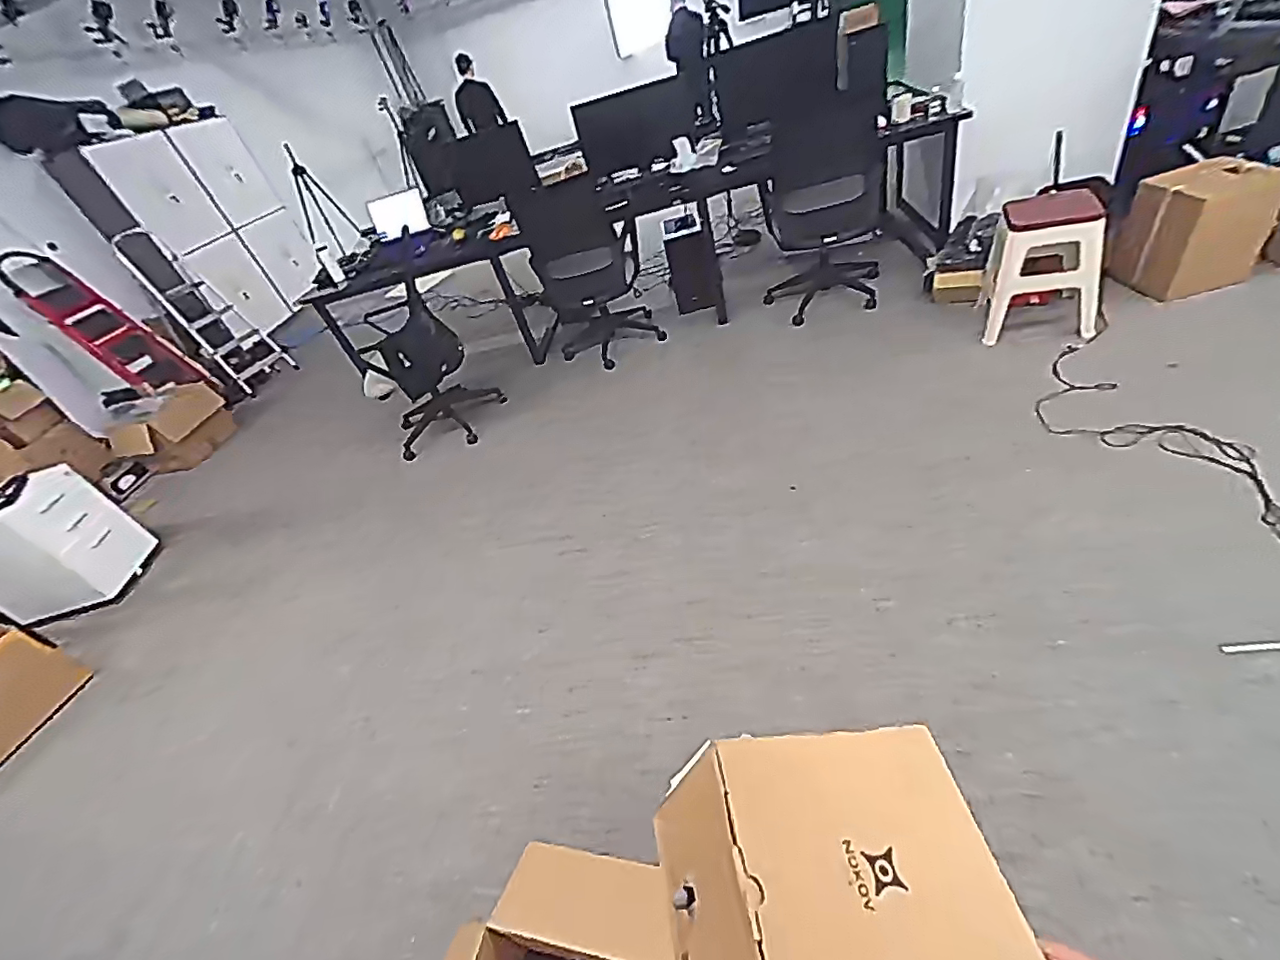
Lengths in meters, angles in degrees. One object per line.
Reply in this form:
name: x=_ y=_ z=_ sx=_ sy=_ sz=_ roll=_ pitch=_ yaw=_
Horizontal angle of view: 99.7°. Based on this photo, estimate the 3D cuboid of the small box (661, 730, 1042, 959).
small box: x=0.129 y=0.296 z=0.386 sx=0.179 sy=0.176 sz=0.168 roll=3 pitch=44 yaw=-15
